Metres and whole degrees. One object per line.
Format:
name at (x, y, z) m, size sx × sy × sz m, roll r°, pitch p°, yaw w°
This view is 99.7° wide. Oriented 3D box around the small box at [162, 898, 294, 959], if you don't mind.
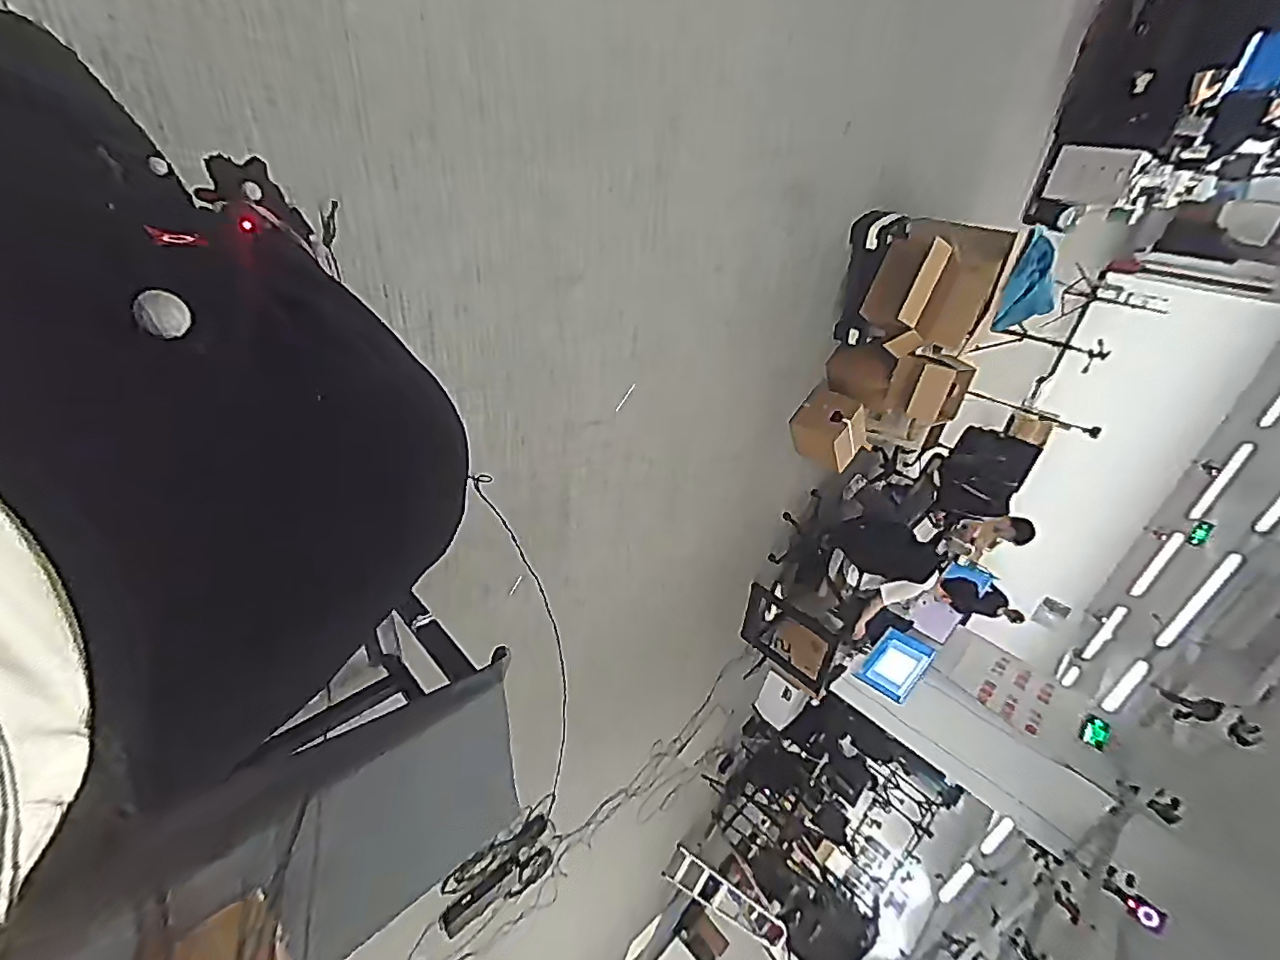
small box at (-0.681, 0.856, 0.897) m, size 0.179 × 0.176 × 0.168 m, roll -22°, pitch 130°, yaw -38°
